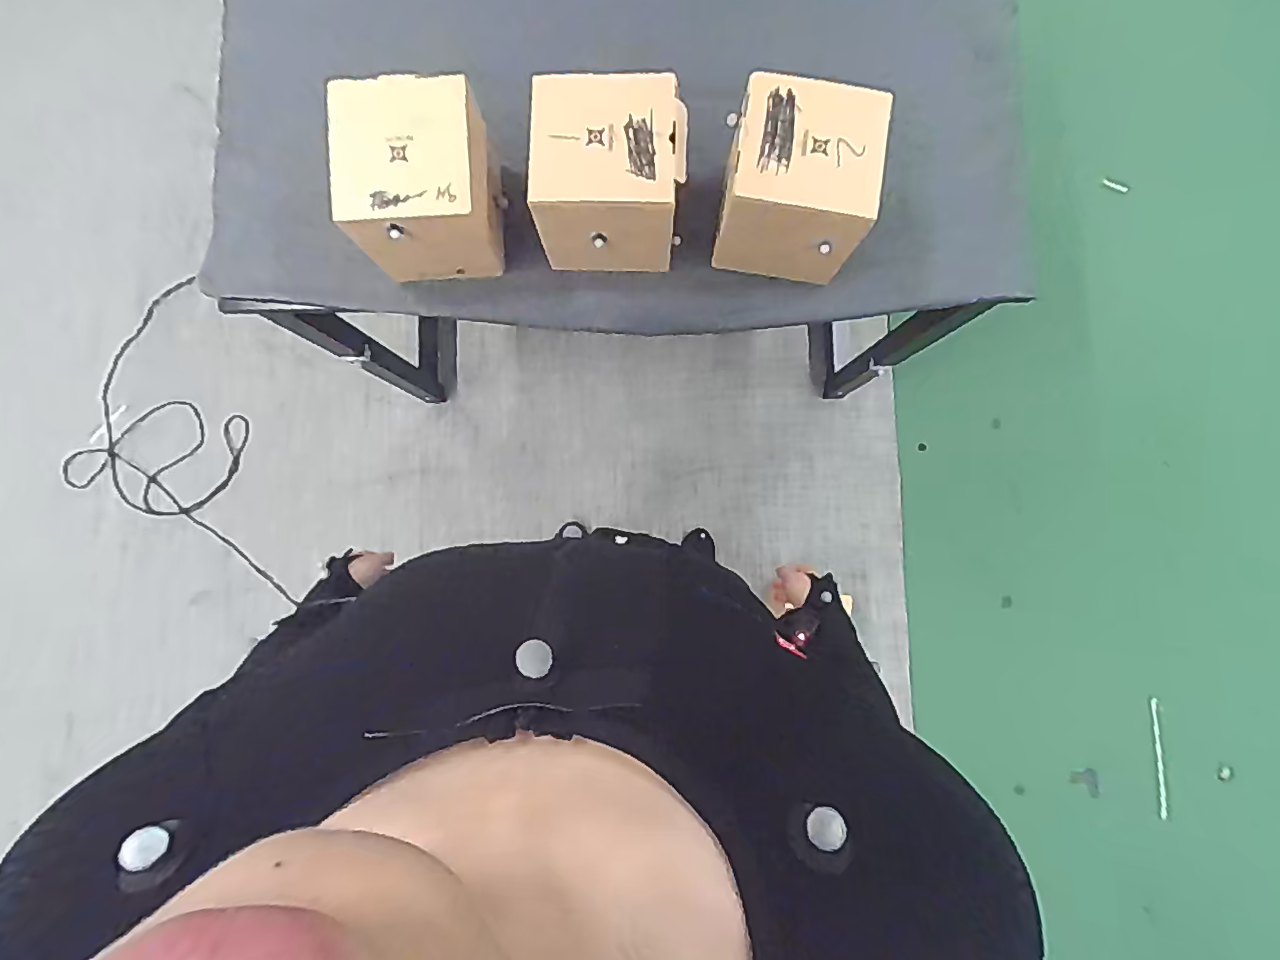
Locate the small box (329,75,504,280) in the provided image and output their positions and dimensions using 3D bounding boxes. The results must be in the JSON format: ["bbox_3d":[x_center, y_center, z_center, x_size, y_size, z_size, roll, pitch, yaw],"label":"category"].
[{"bbox_3d":[-0.283,-0.388,0.717,0.168,0.176,0.179,-3,86,1],"label":"small box"}]

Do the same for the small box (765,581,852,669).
[{"bbox_3d":[0.427,0.367,1.397,0.168,0.176,0.179,7,86,1],"label":"small box"}]
